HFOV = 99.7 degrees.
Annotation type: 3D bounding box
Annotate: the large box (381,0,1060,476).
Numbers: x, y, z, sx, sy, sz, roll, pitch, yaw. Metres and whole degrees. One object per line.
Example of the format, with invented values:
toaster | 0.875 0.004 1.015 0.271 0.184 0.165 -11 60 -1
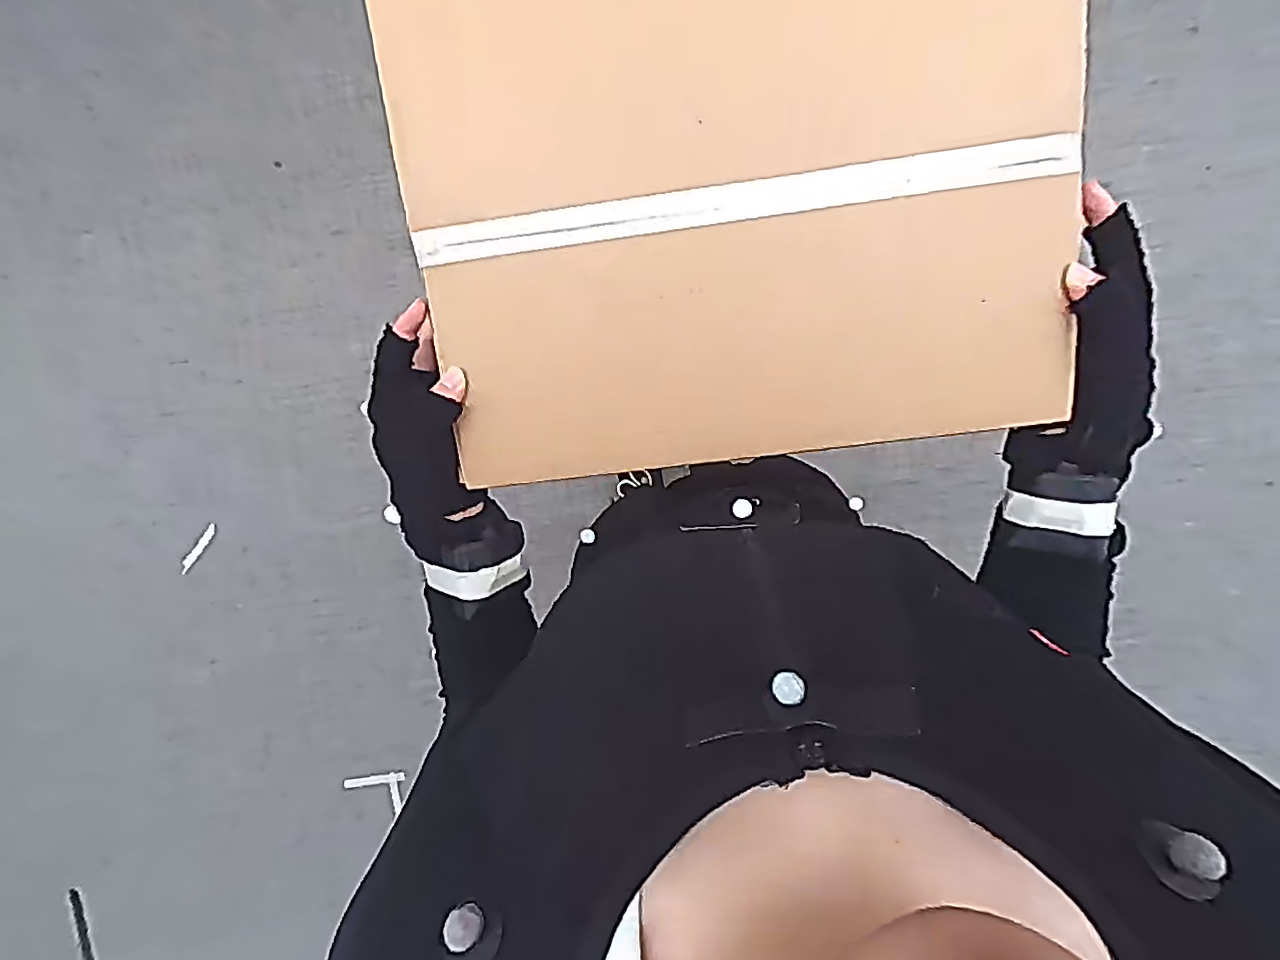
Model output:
large box | 0.060 -0.205 0.489 0.408 0.320 0.320 -7 102 3
